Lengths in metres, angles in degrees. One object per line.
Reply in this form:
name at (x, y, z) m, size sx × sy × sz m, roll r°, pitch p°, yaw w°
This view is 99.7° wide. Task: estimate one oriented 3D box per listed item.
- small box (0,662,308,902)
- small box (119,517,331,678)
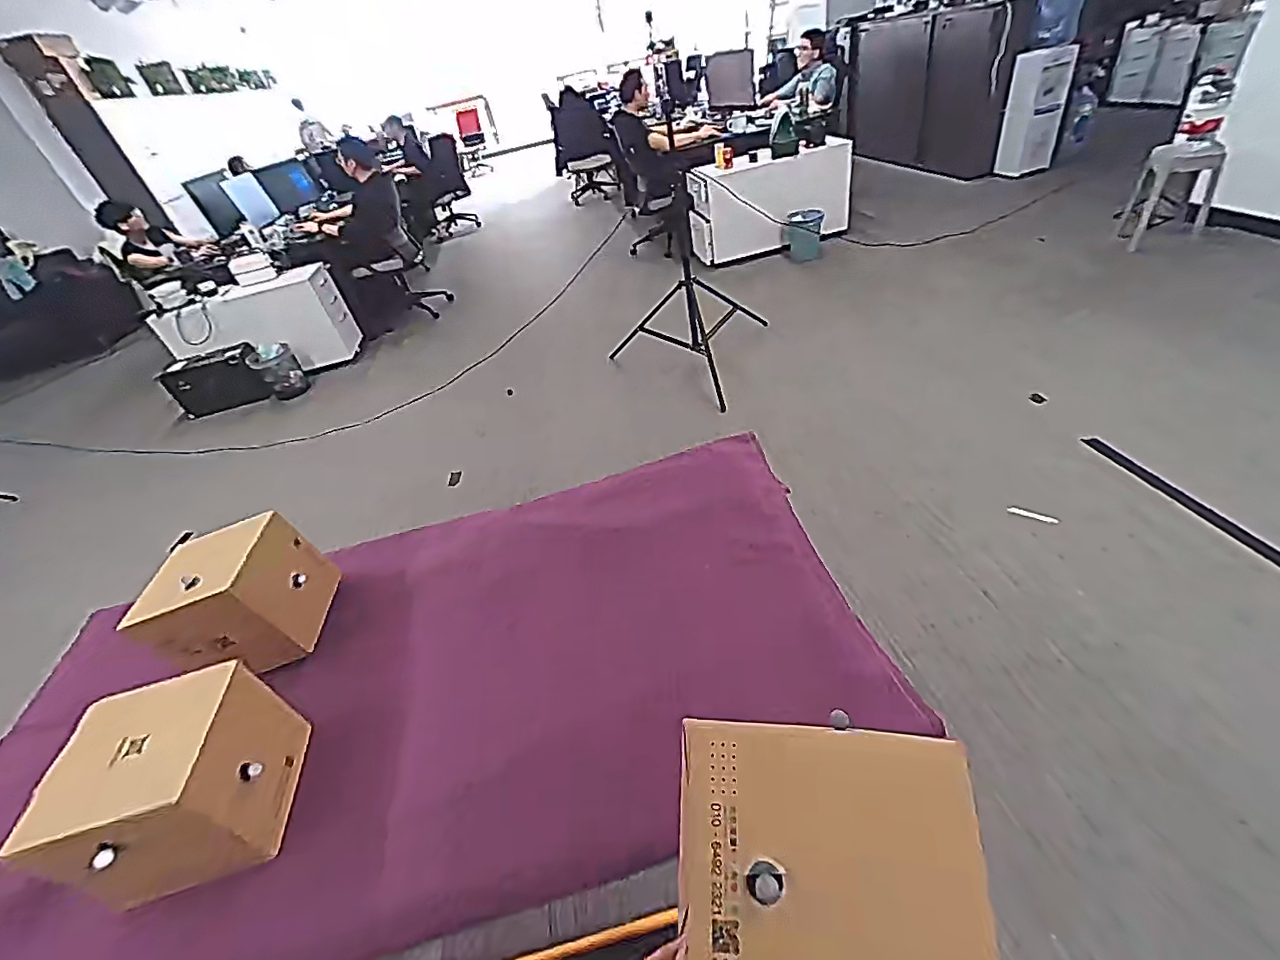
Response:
small box at (-0.527, 0.347, 0.625) m, size 0.179 × 0.176 × 0.168 m, roll -17°, pitch 38°, yaw -4°
small box at (-0.609, 0.182, 0.830) m, size 0.179 × 0.168 × 0.176 m, roll -19°, pitch 37°, yaw 4°
